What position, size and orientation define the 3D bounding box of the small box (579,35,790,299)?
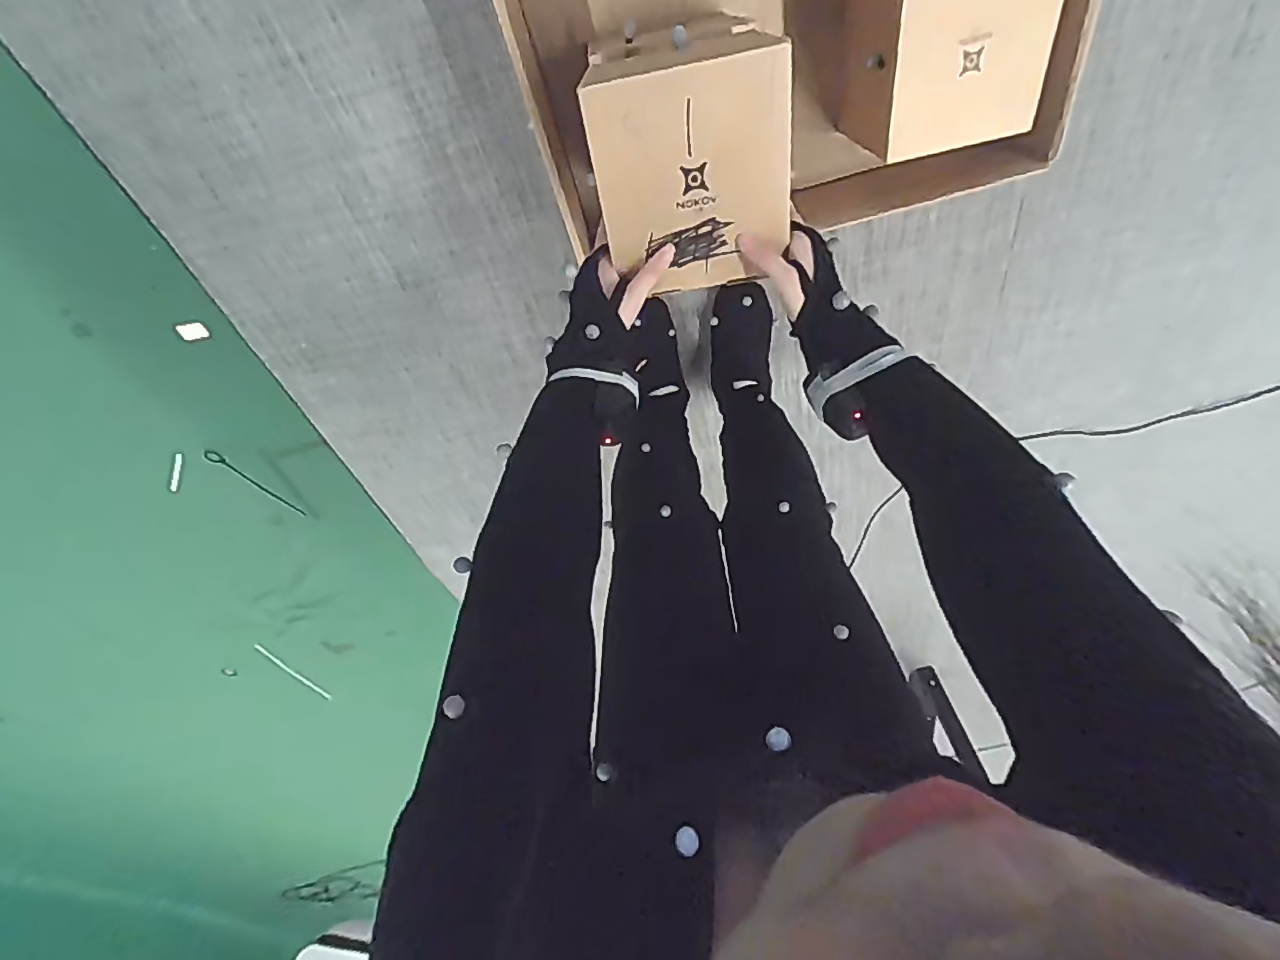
[{"bbox_3d":[0.046,-0.304,0.527,0.168,0.176,0.179,-8,131,6],"label":"small box"}]
